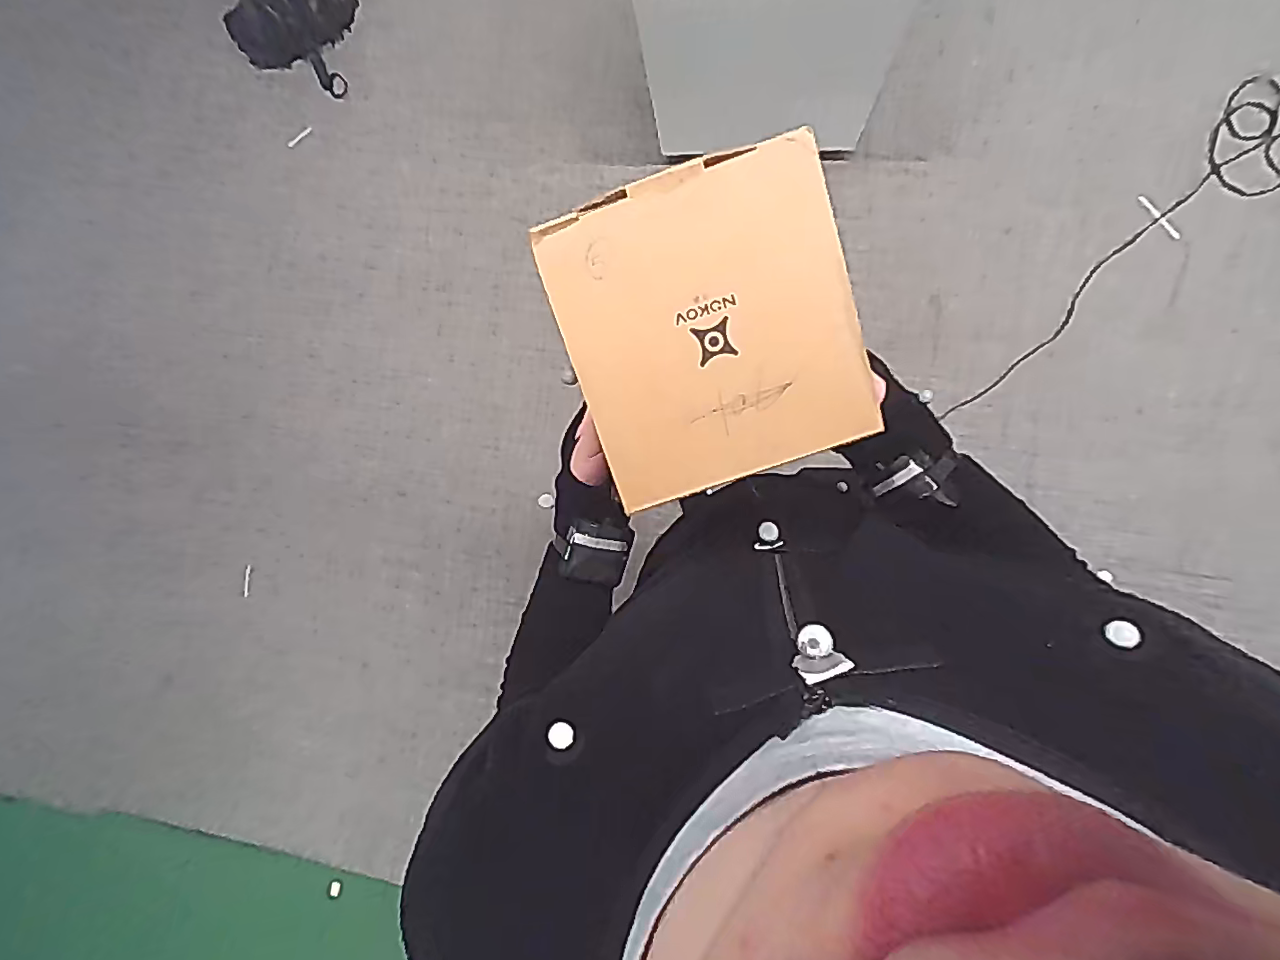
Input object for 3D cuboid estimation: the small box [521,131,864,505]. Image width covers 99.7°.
[{"bbox_3d":[0.034,-0.105,0.393,0.168,0.176,0.179,-18,104,5],"label":"small box"}]
